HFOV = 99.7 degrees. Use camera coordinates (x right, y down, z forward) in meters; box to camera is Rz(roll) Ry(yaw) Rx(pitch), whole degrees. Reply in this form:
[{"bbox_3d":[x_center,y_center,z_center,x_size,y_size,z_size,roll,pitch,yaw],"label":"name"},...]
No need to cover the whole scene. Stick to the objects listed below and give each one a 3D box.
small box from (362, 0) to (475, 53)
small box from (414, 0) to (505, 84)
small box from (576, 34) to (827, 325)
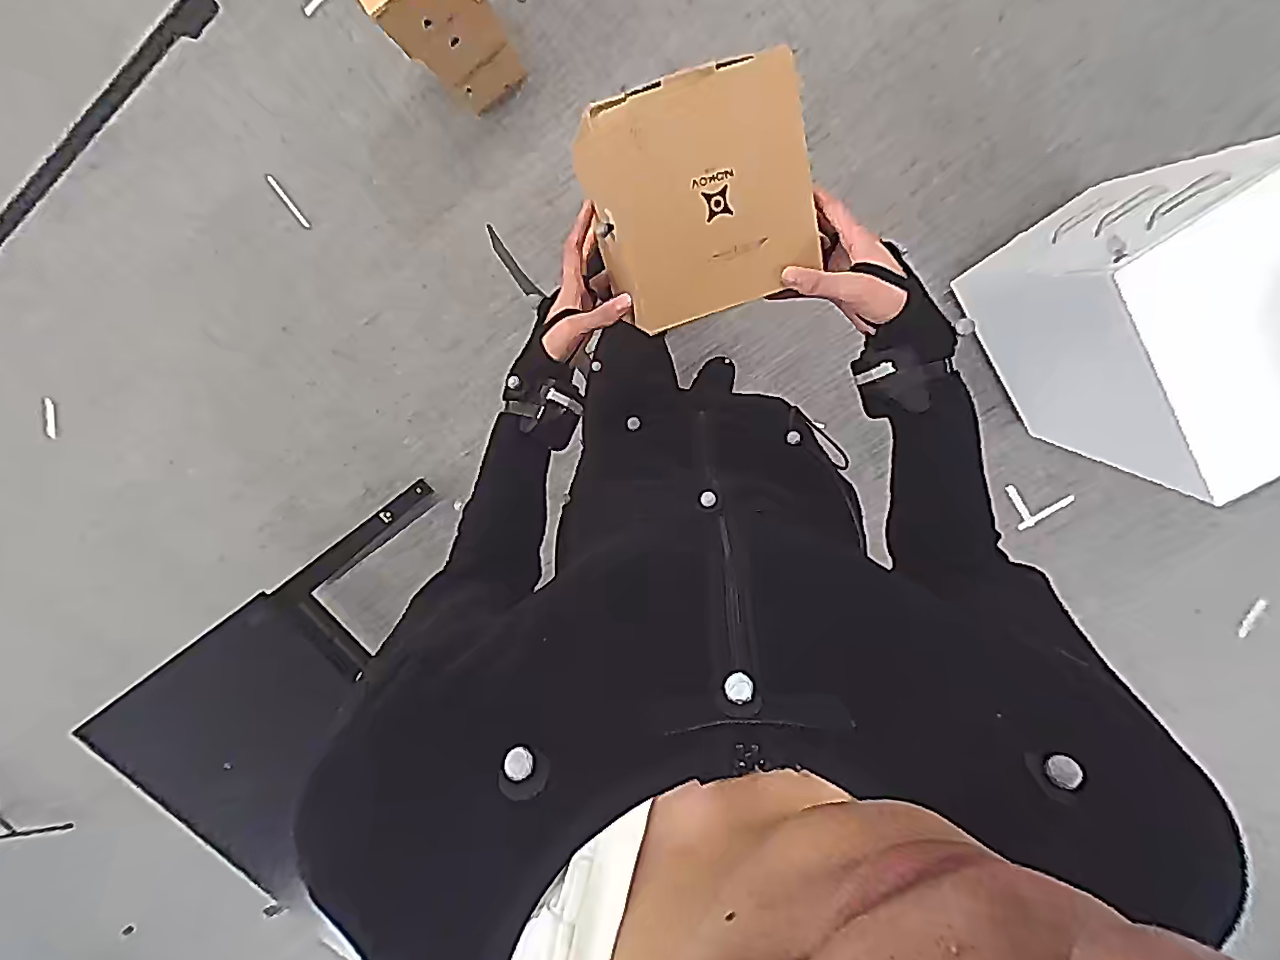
[{"bbox_3d":[-0.424,-0.910,0.944,0.168,0.176,0.179,-31,105,11],"label":"small box"},{"bbox_3d":[-0.405,-0.961,1.098,0.179,0.176,0.168,-33,104,11],"label":"small box"},{"bbox_3d":[0.046,-0.258,0.500,0.168,0.176,0.179,-19,114,-4],"label":"small box"}]
